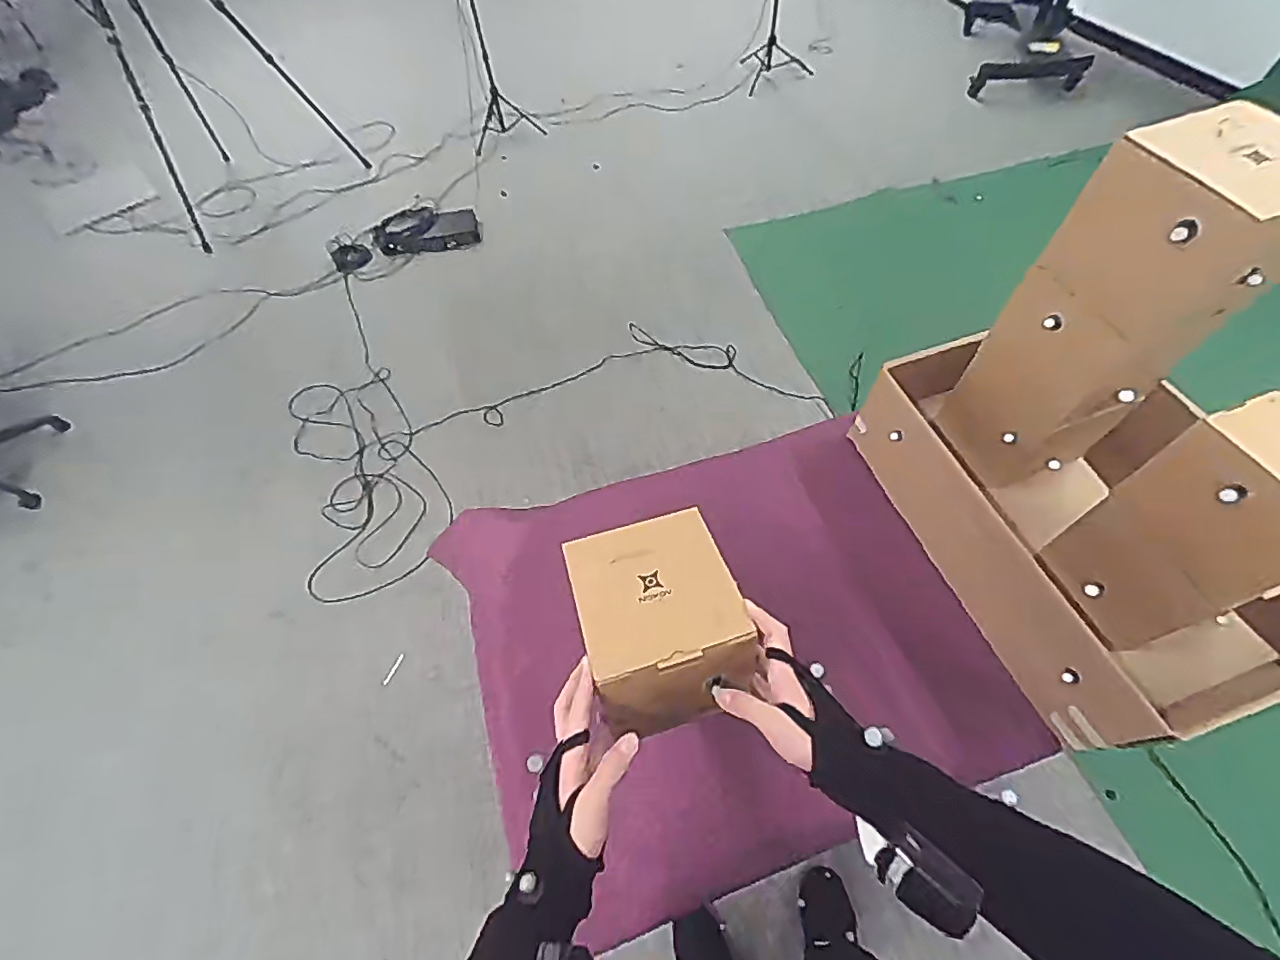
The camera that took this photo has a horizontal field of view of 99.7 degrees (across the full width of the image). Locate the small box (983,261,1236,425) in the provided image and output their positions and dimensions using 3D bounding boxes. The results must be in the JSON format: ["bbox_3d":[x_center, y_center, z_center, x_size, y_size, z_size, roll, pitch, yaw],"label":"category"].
[{"bbox_3d":[0.642,-0.211,0.772,0.168,0.176,0.179,-20,59,-7],"label":"small box"}]

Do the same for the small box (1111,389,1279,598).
[{"bbox_3d":[0.723,0.019,0.624,0.168,0.176,0.179,-19,56,-6],"label":"small box"}]

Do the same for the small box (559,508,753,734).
[{"bbox_3d":[0.015,0.166,0.616,0.168,0.176,0.179,-15,47,-8],"label":"small box"}]

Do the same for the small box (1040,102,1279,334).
[{"bbox_3d":[0.633,-0.293,0.630,0.168,0.176,0.179,-18,59,-7],"label":"small box"}]
